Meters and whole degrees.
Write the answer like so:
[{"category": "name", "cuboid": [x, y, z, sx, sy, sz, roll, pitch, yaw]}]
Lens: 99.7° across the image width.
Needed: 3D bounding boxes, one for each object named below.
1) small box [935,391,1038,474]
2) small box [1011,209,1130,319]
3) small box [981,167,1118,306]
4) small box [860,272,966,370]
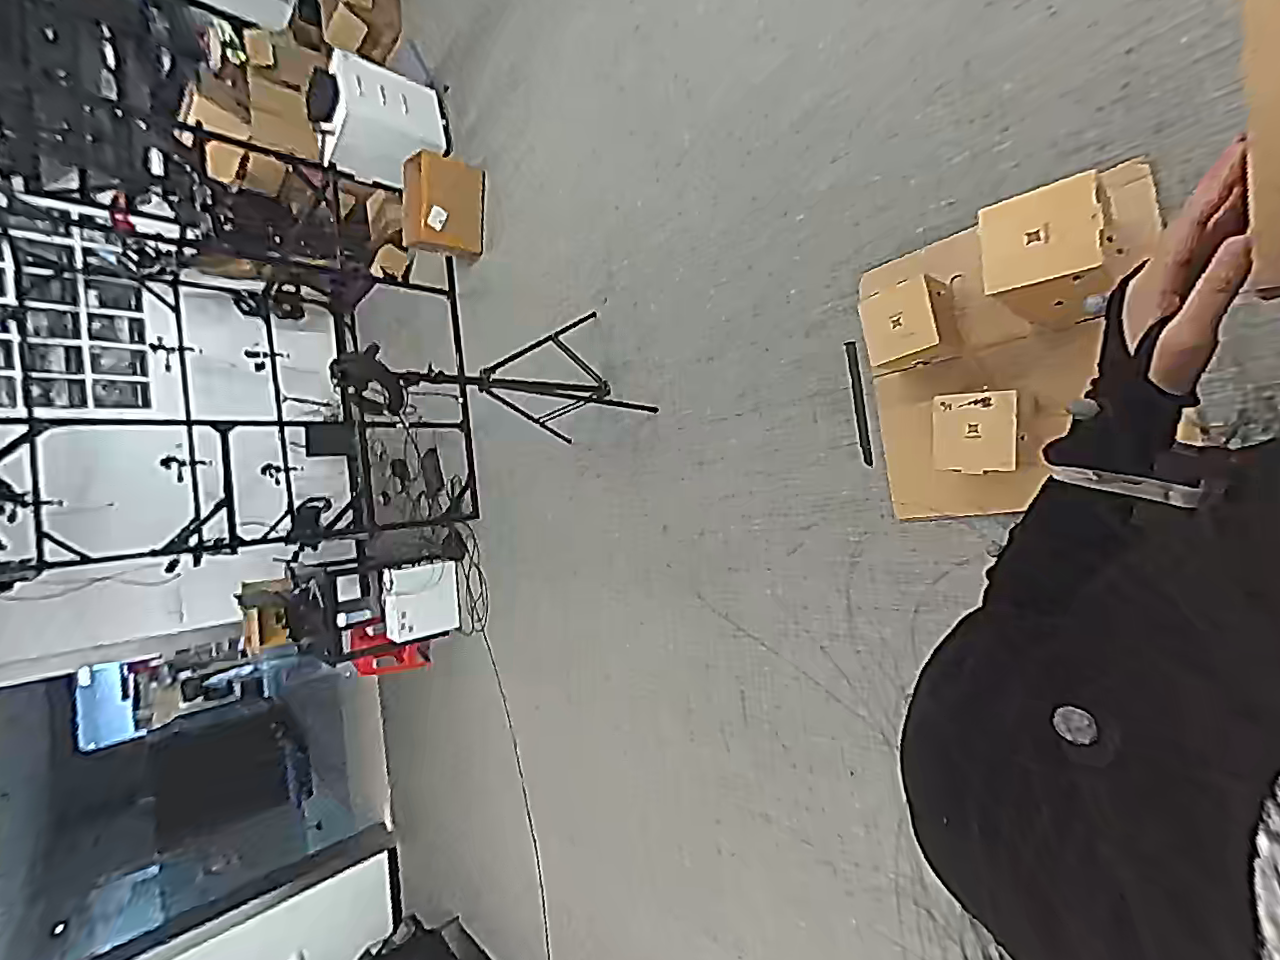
[{"category": "small box", "cuboid": [0.797, -0.111, 1.242, 0.168, 0.176, 0.179, 3, 97, 47]}, {"category": "small box", "cuboid": [0.883, -0.446, 1.121, 0.179, 0.176, 0.168, -10, 87, 46]}, {"category": "small box", "cuboid": [0.764, -0.437, 1.010, 0.179, 0.176, 0.168, -5, 90, 46]}, {"category": "small box", "cuboid": [0.681, -0.386, 1.346, 0.168, 0.176, 0.179, -18, 81, 48]}]
